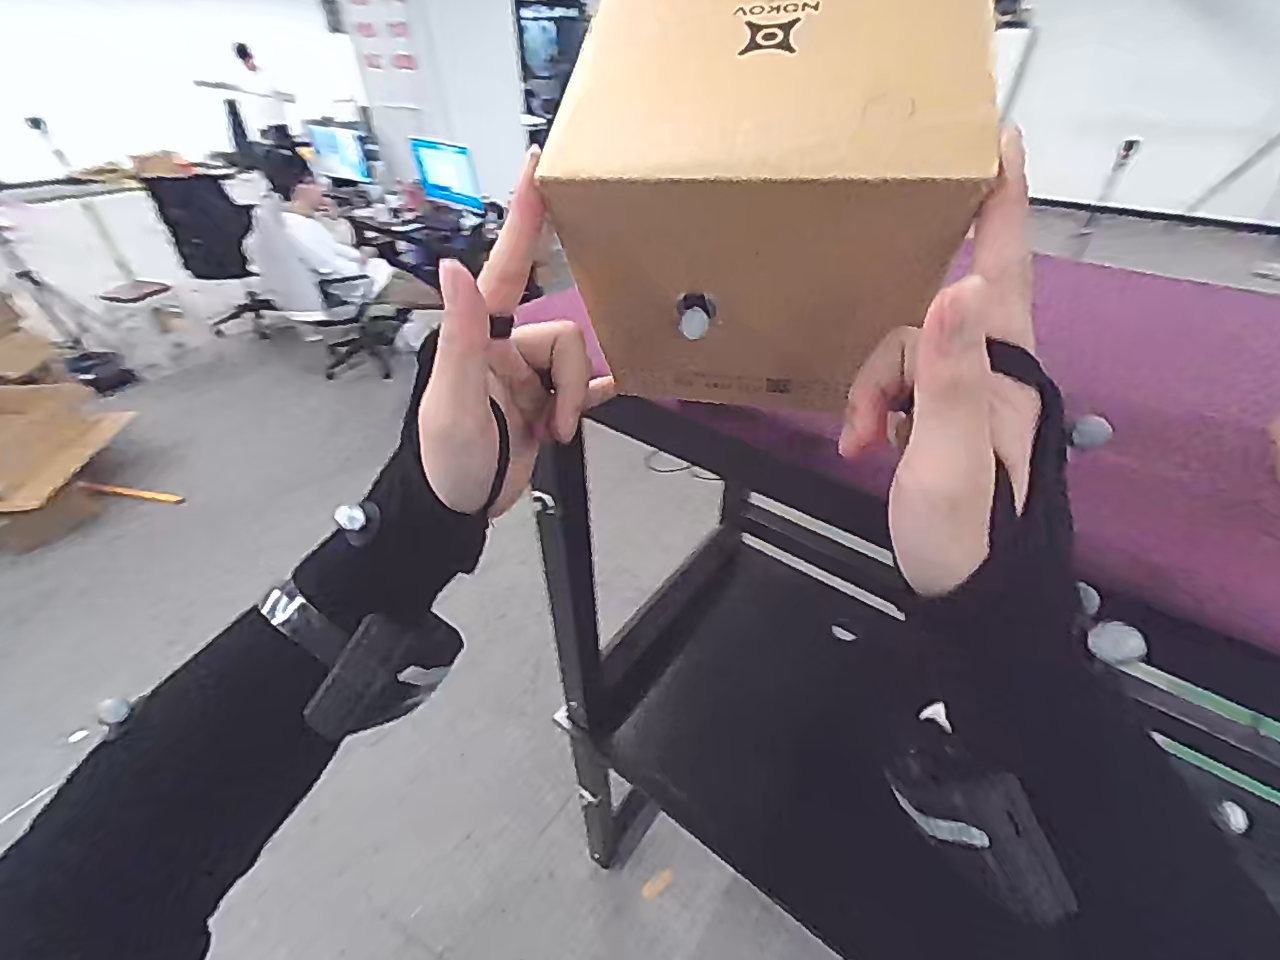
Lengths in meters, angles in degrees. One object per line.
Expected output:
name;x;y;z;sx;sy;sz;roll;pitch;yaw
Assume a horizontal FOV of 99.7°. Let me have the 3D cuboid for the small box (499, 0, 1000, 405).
small box;0.058;-0.156;0.275;0.168;0.176;0.179;9;71;14
